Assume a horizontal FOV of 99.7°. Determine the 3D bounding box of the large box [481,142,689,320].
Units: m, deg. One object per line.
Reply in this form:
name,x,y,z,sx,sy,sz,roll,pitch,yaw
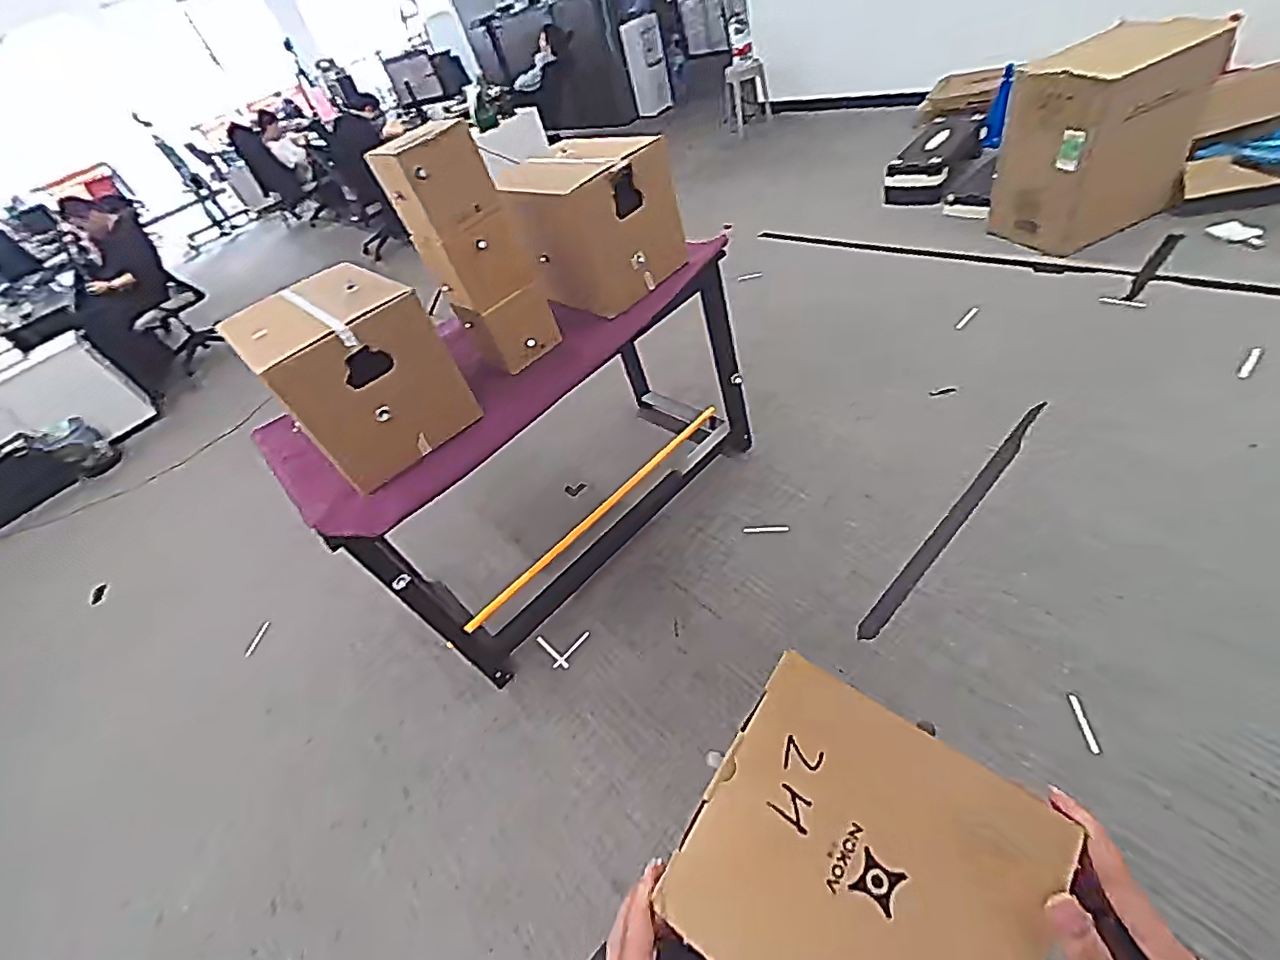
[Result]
large box,-0.140,-0.665,1.447,0.320,0.320,0.408,-42,46,-21
